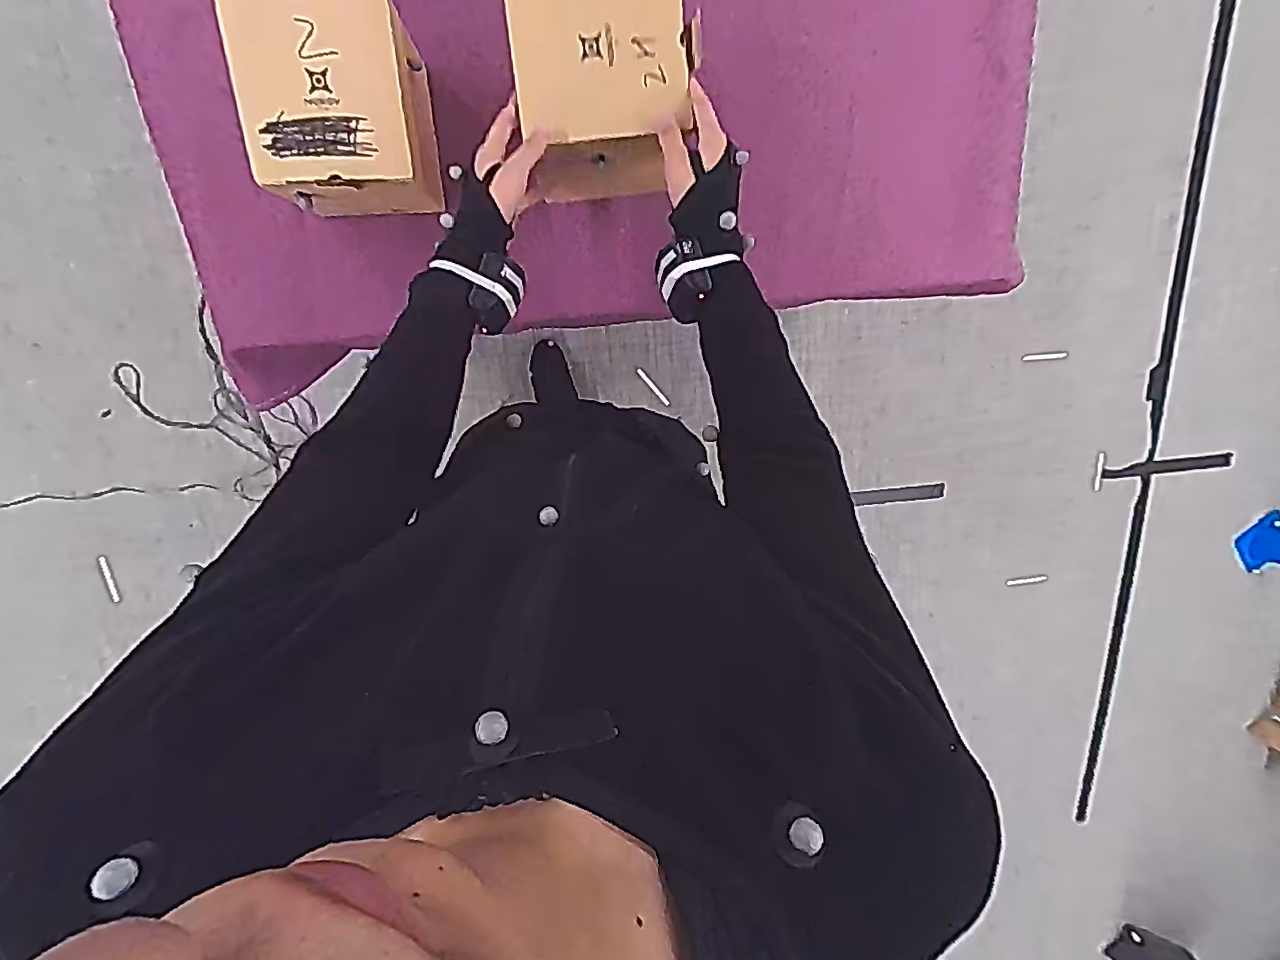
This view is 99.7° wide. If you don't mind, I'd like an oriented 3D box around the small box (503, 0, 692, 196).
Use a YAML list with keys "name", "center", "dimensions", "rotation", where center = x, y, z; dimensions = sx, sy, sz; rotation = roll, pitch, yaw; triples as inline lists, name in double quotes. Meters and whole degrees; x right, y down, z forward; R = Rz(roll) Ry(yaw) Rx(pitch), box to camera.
- name: "small box"
  center: [-0.043, -0.436, 0.605]
  dimensions: [0.179, 0.176, 0.168]
  rotation: [-6, 100, -1]
